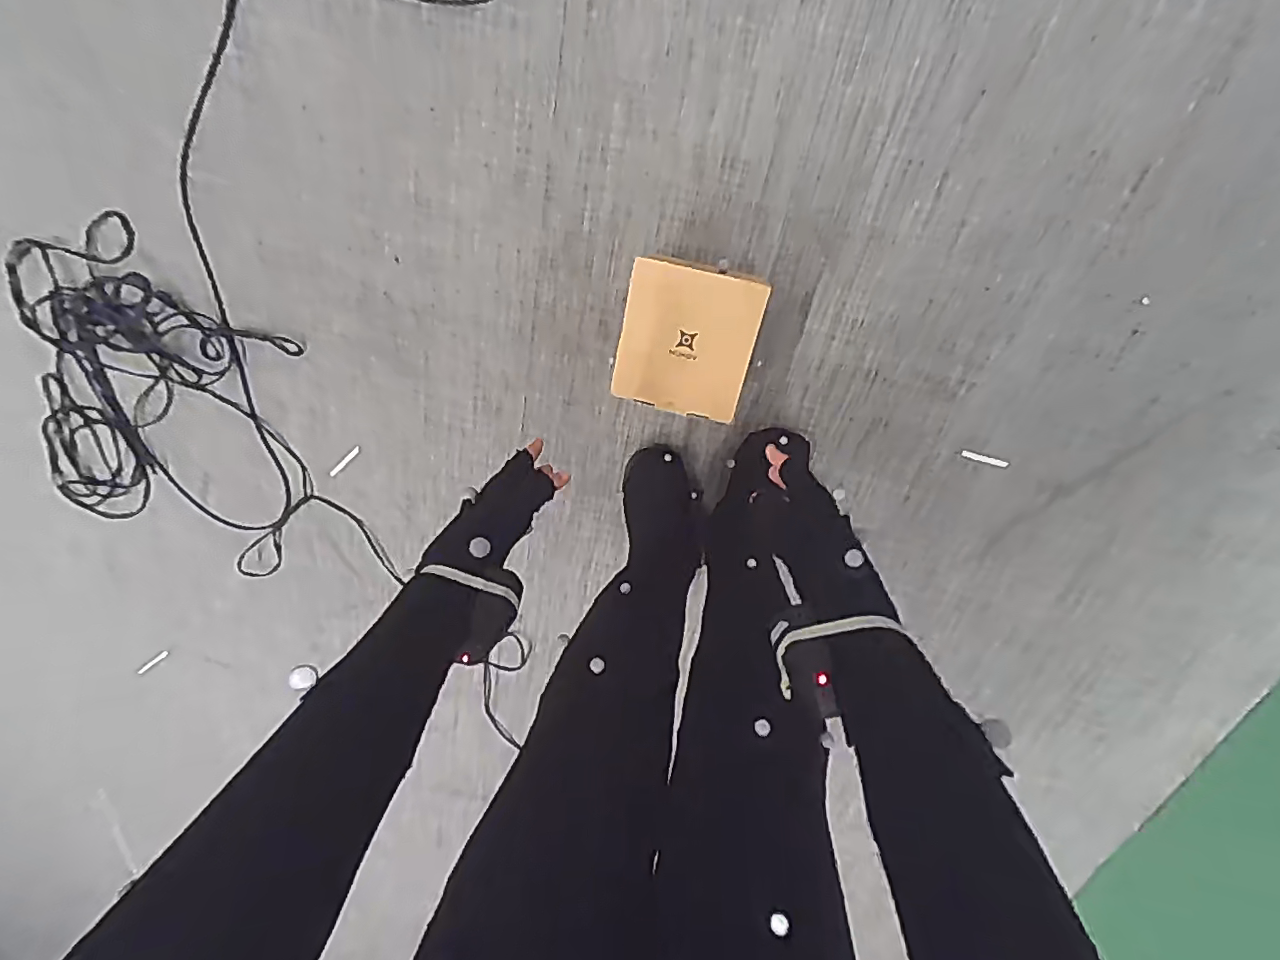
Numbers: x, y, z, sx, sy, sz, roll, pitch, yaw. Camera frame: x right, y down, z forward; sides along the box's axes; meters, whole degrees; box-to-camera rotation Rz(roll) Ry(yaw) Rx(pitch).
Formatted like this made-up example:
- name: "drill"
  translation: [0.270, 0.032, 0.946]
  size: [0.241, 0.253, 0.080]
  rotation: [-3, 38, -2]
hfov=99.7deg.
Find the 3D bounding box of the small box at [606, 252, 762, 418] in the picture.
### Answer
- name: "small box"
  translation: [0.061, -0.208, 0.748]
  size: [0.168, 0.176, 0.179]
  rotation: [14, 116, 4]
